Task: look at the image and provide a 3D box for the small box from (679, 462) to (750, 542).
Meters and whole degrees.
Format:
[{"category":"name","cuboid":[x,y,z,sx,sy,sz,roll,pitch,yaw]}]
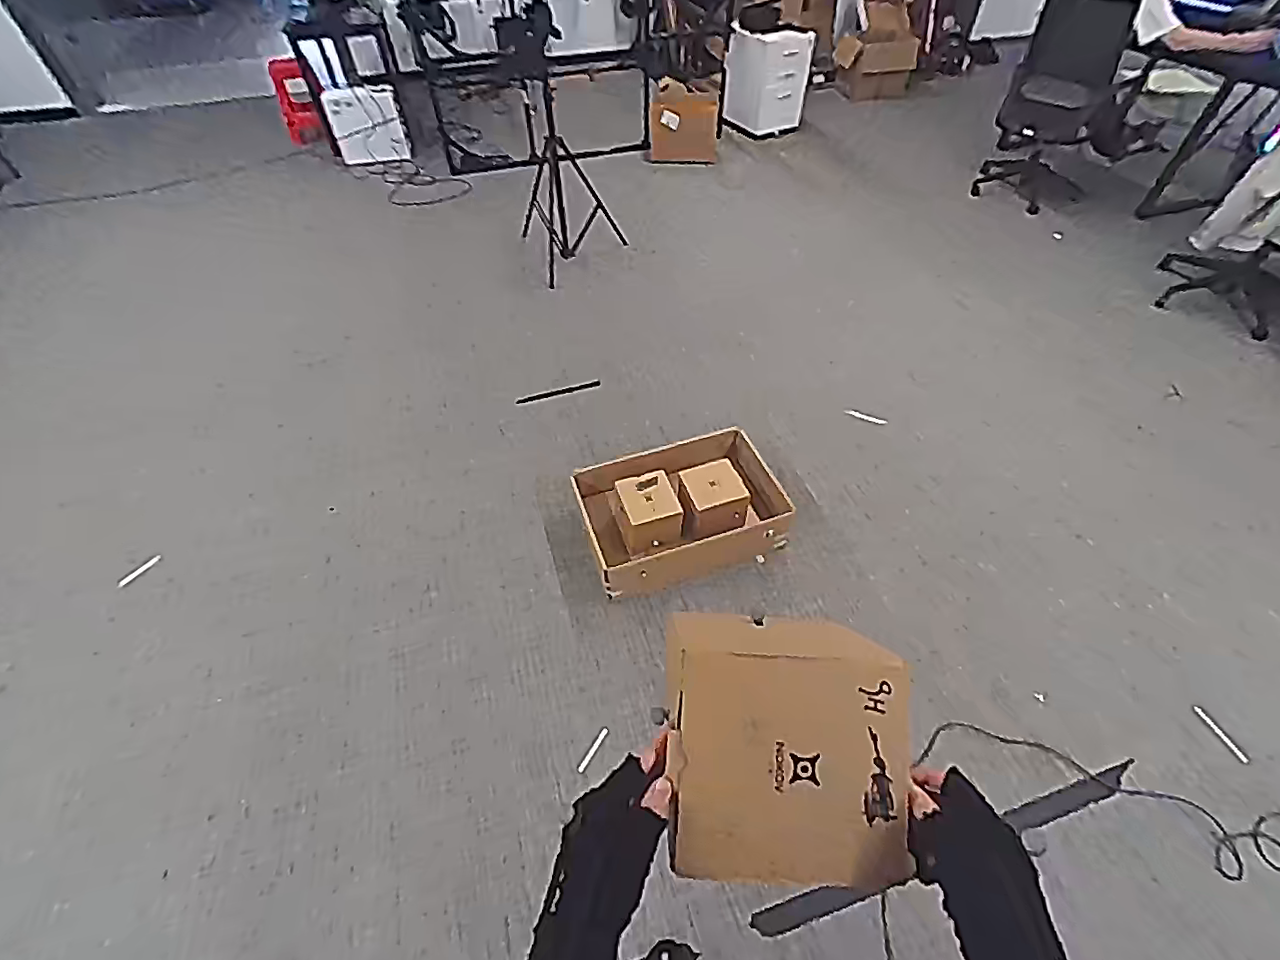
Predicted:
[{"category":"small box","cuboid":[0.234,0.073,1.744,0.179,0.176,0.168,-16,51,-10]}]
